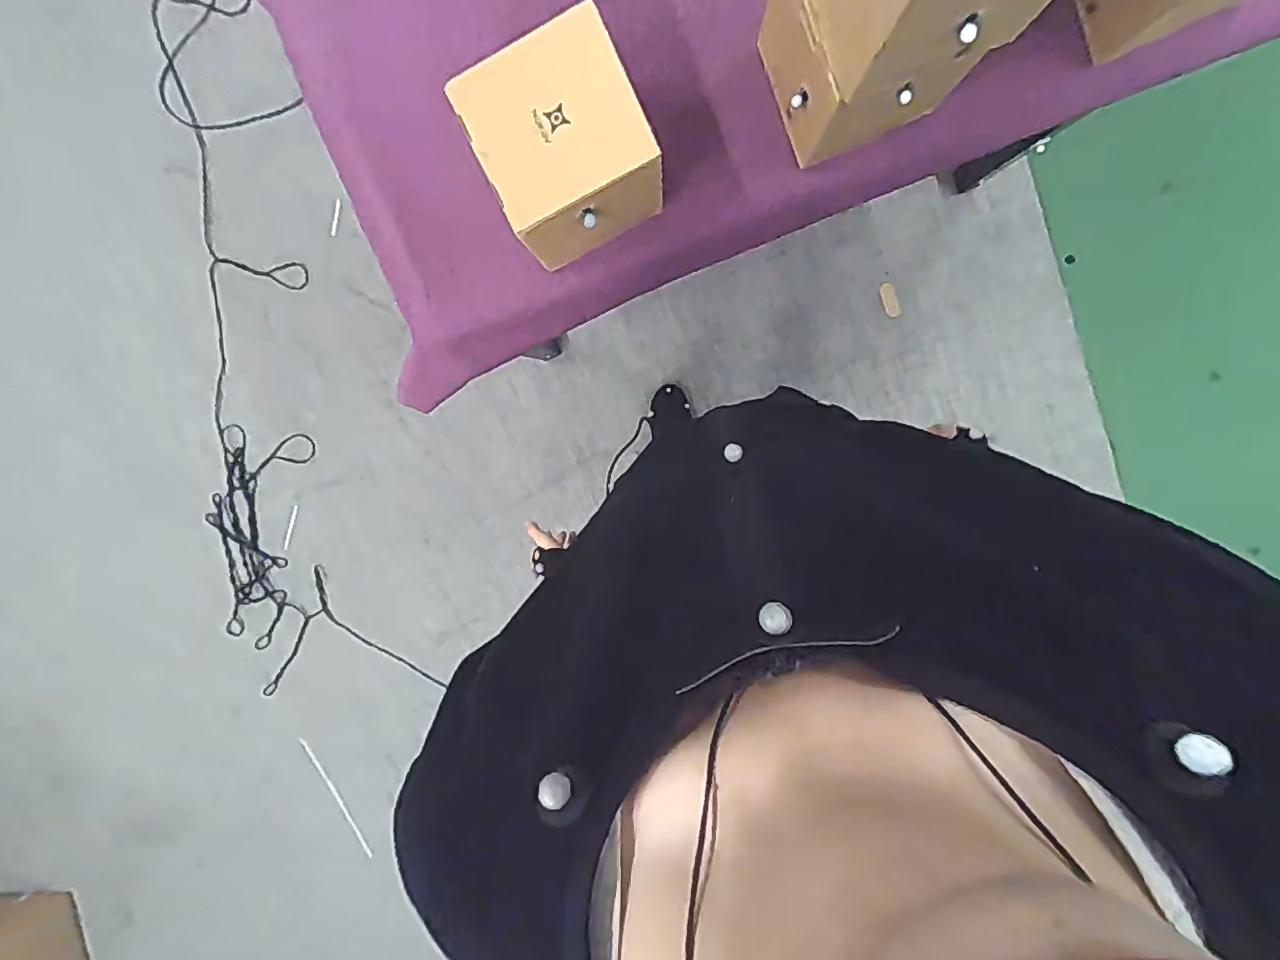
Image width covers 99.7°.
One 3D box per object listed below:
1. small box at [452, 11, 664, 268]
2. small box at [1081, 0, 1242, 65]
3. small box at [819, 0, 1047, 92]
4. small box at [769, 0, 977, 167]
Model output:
[{"bbox_3d":[-0.082,-0.381,0.643,0.179,0.176,0.168,-25,96,8],"label":"small box"},{"bbox_3d":[0.597,-0.590,0.563,0.179,0.176,0.168,-23,97,7],"label":"small box"},{"bbox_3d":[0.250,-0.462,0.442,0.168,0.176,0.179,-18,97,6],"label":"small box"},{"bbox_3d":[0.254,-0.489,0.604,0.179,0.176,0.168,-20,97,6],"label":"small box"}]
